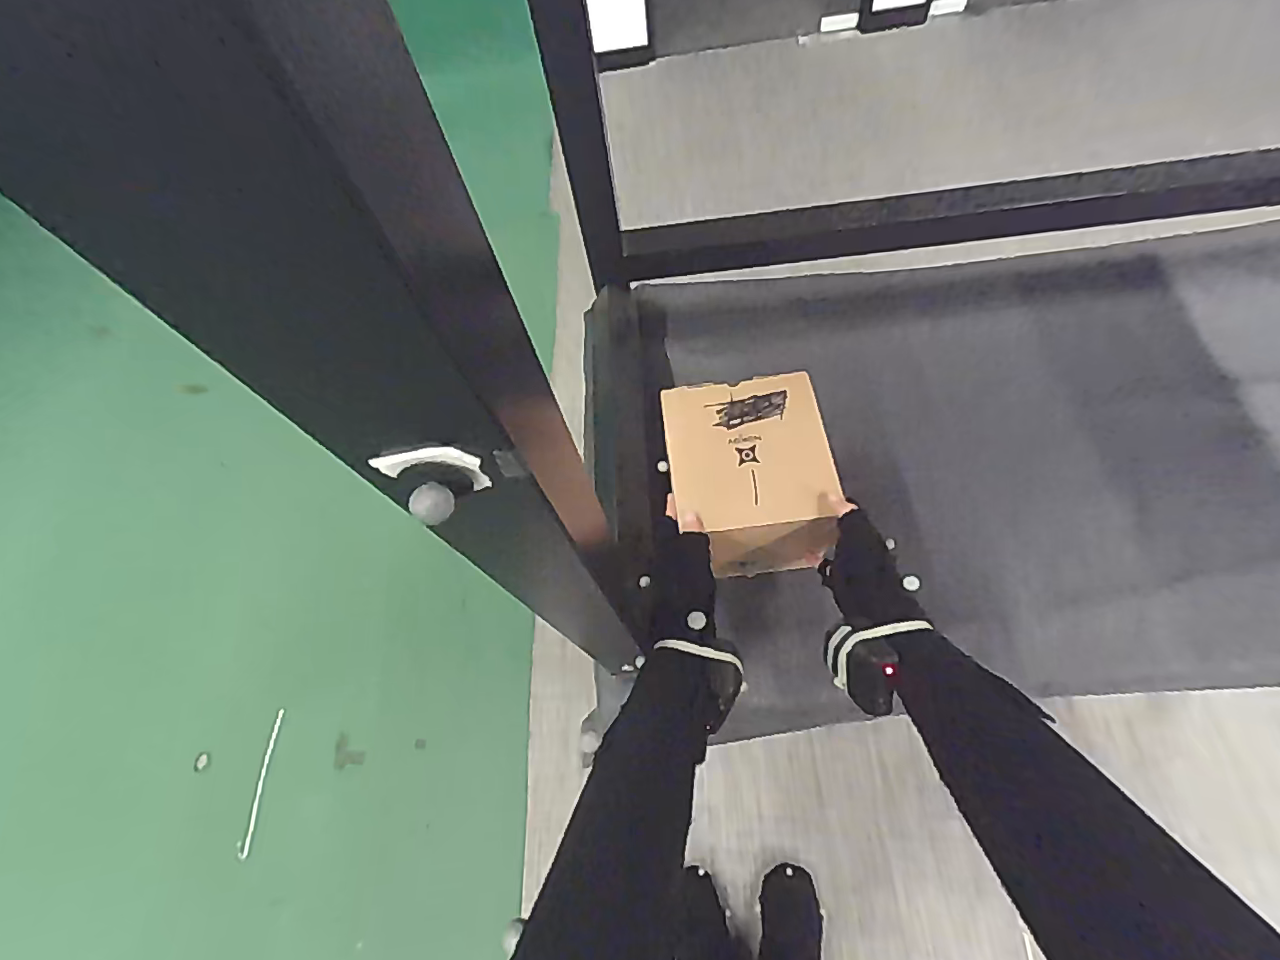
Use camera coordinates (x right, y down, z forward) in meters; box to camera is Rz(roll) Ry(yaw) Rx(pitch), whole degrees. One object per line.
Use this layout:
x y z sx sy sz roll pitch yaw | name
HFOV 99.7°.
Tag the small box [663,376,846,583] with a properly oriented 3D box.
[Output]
0.119 0.006 0.632 0.168 0.176 0.179 -7 63 3 | small box
